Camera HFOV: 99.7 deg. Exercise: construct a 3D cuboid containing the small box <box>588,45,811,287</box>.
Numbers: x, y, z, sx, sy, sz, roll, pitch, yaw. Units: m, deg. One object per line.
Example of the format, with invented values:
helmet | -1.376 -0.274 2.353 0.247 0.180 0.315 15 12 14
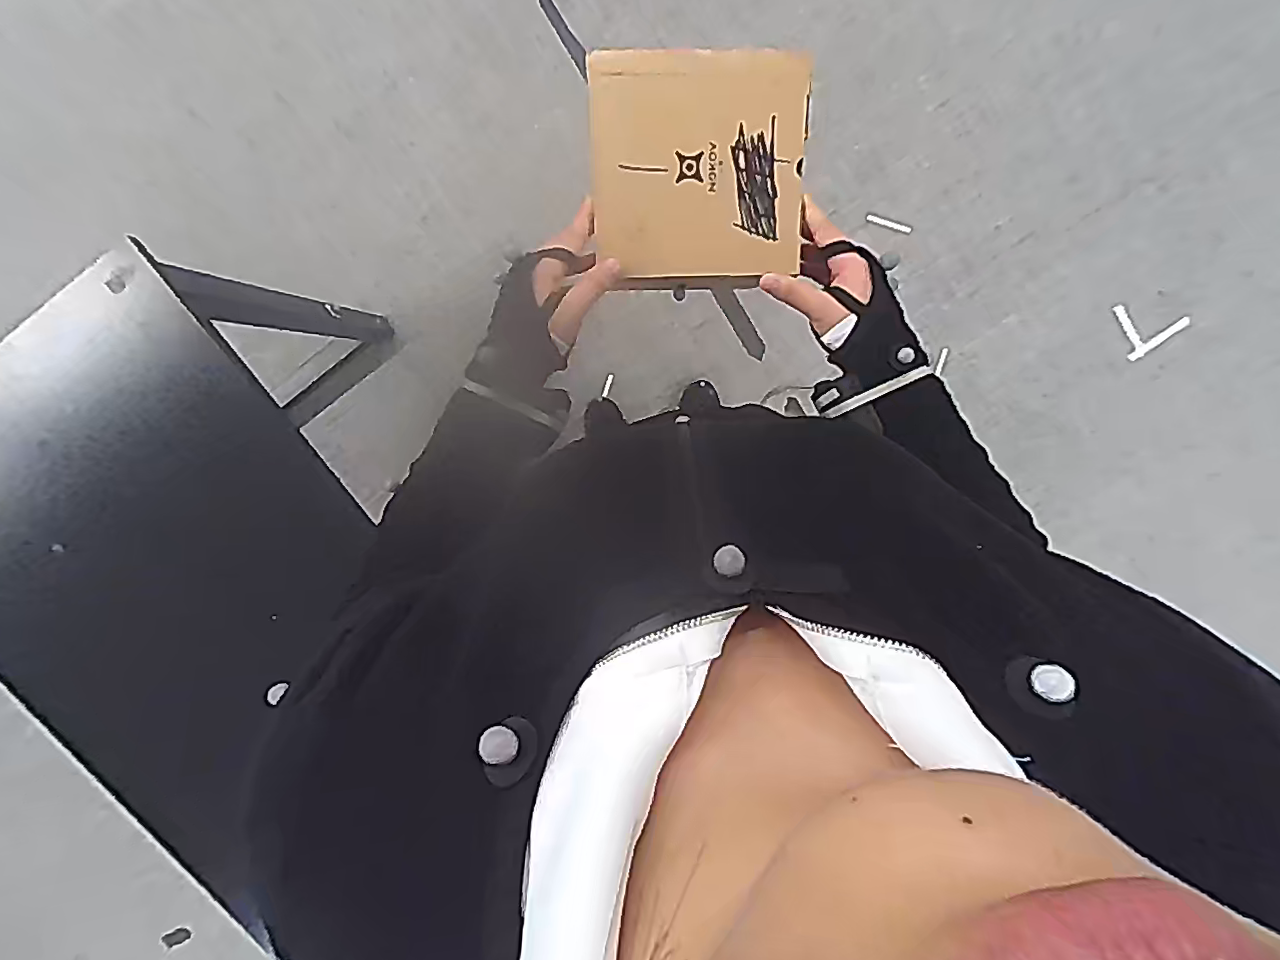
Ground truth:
small box | 0.043 -0.277 0.513 0.179 0.176 0.168 -2 106 -2
